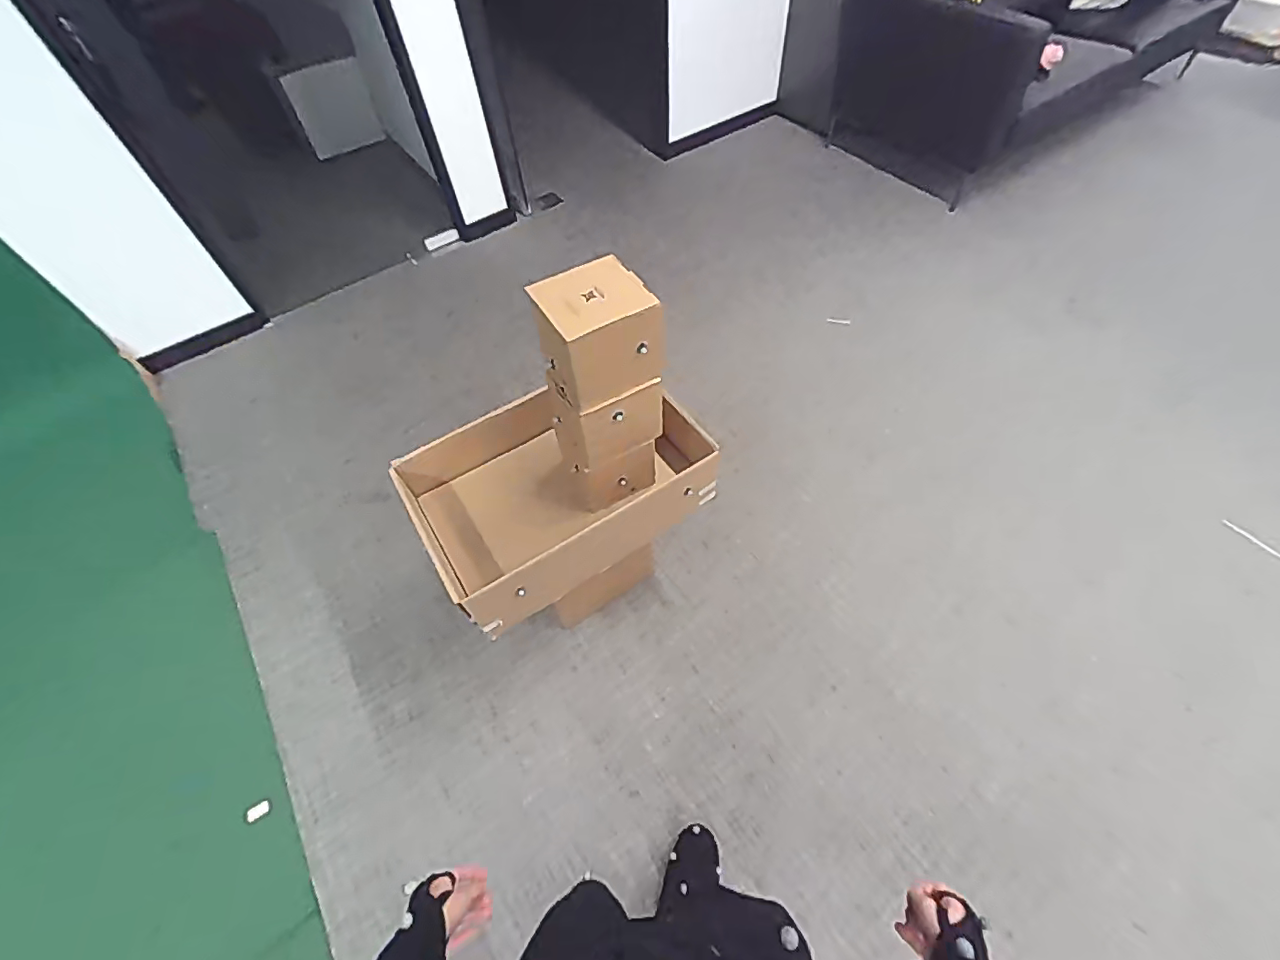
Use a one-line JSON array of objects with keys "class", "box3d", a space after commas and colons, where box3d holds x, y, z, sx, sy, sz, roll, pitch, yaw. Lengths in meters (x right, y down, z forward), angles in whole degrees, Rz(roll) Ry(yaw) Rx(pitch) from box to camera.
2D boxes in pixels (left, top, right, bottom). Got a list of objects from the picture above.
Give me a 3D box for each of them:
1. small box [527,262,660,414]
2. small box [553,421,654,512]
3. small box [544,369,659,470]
[{"class": "small box", "box3d": [-0.078, -0.252, 0.970, 0.179, 0.176, 0.168, -27, 57, -15]}, {"class": "small box", "box3d": [-0.077, -0.050, 1.228, 0.168, 0.176, 0.179, -25, 57, -14]}, {"class": "small box", "box3d": [-0.071, -0.149, 1.097, 0.179, 0.176, 0.168, -26, 58, -16]}]
